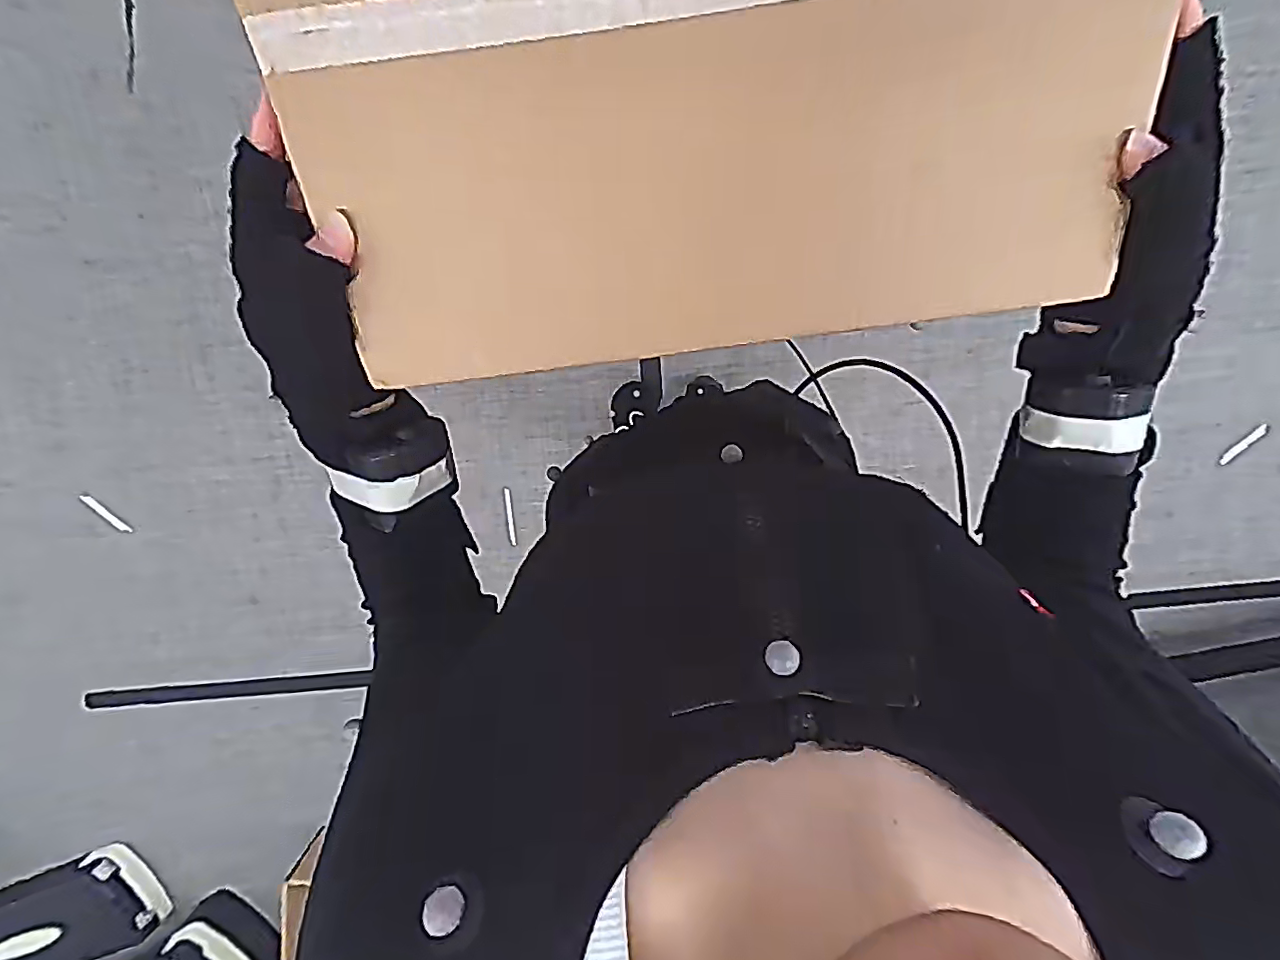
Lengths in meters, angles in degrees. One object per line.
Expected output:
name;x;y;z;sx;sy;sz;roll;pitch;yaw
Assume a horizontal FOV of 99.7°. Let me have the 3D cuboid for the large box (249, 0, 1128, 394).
large box;0.023;-0.277;0.379;0.408;0.320;0.320;-7;114;2
